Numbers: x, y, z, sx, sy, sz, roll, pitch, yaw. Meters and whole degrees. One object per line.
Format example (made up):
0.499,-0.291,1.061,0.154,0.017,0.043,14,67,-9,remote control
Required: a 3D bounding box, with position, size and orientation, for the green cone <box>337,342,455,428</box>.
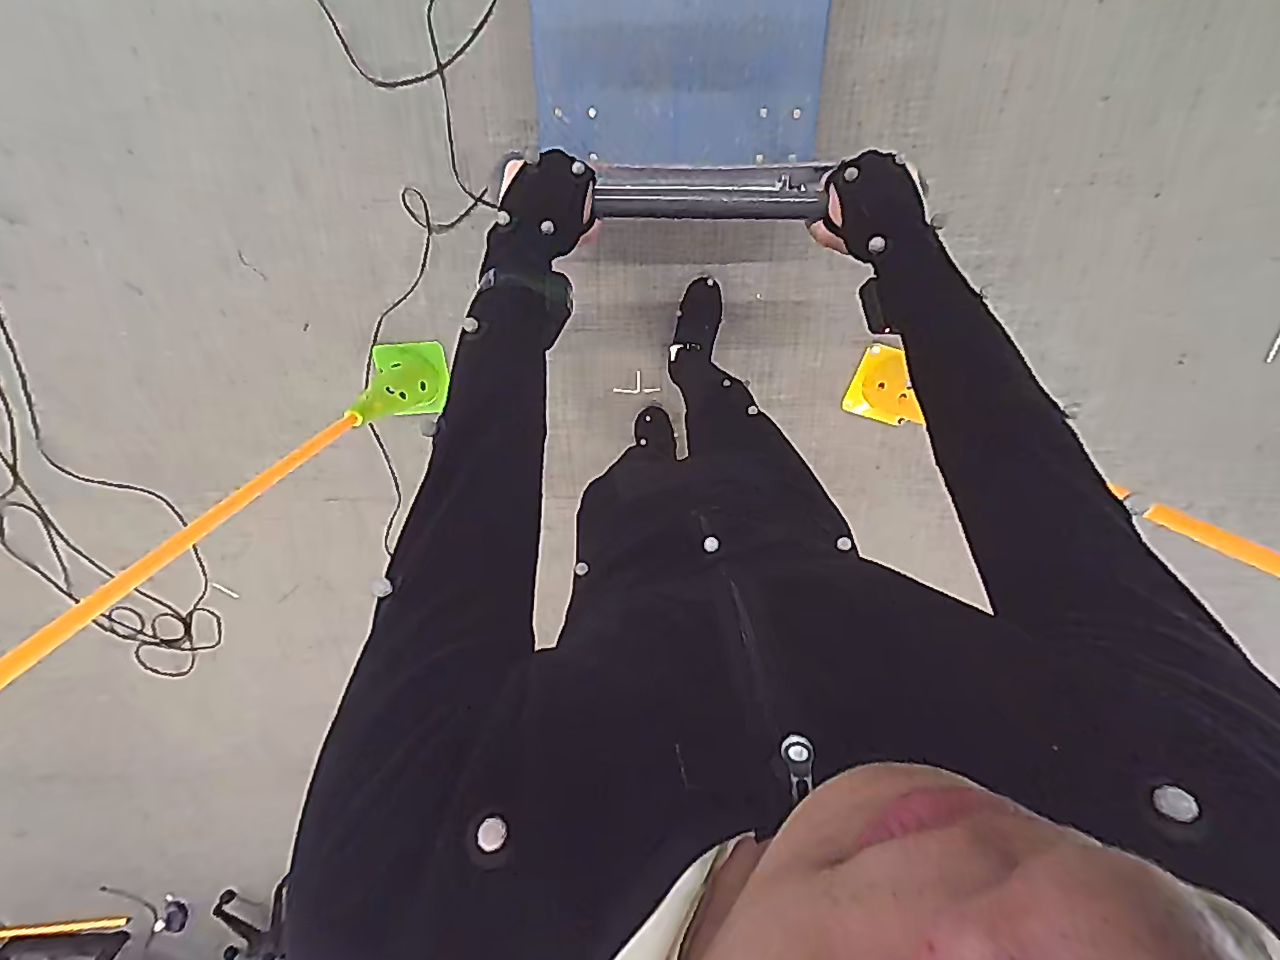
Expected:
-0.641,-0.212,1.363,0.202,0.368,0.200,-3,114,4,green cone
